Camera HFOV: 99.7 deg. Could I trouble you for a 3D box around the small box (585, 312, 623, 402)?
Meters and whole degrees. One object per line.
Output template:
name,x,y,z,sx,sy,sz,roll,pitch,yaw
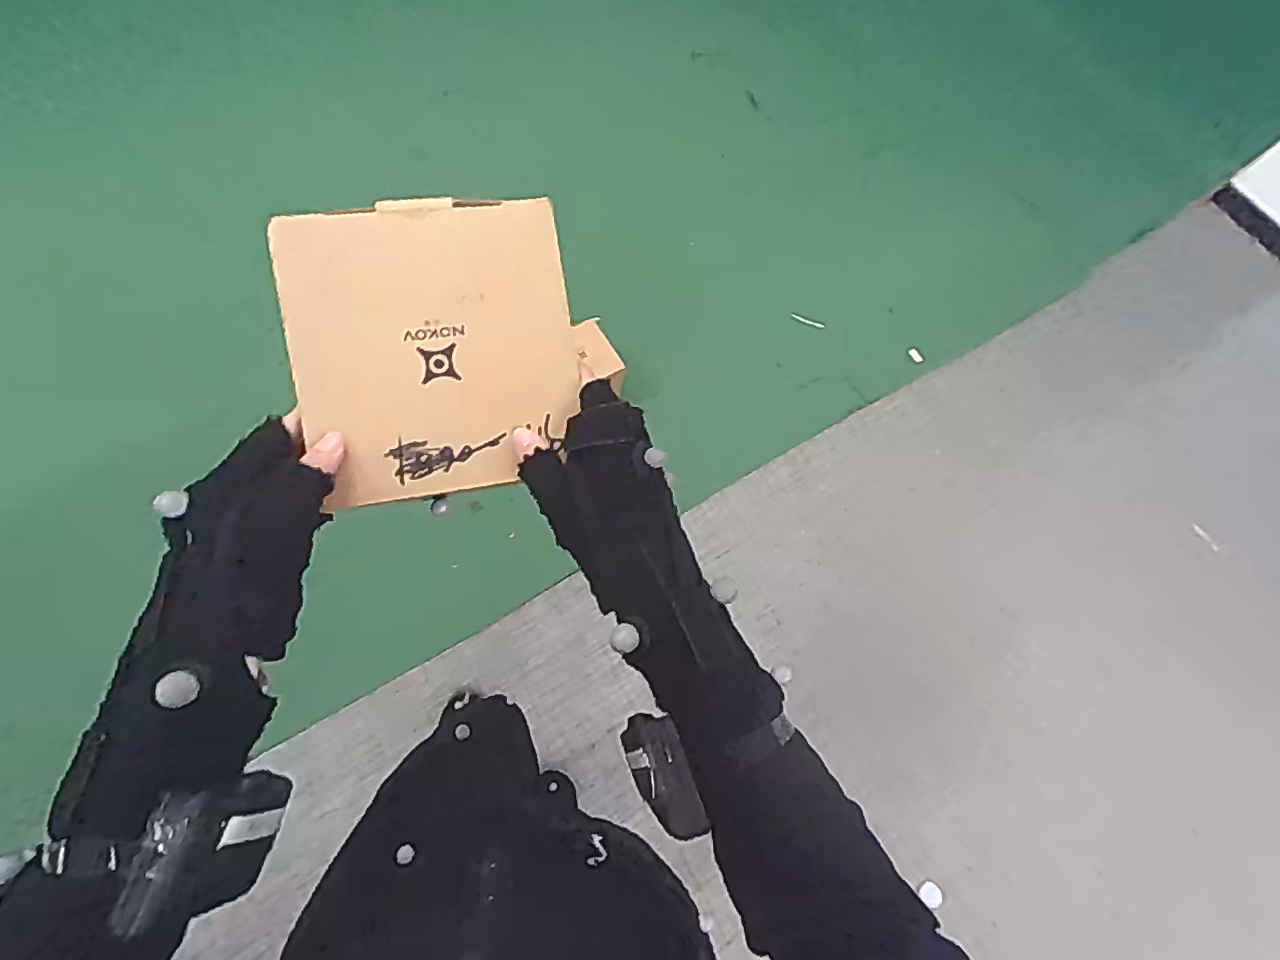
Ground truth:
small box,-0.163,-0.313,1.456,0.168,0.176,0.179,-27,76,-16
